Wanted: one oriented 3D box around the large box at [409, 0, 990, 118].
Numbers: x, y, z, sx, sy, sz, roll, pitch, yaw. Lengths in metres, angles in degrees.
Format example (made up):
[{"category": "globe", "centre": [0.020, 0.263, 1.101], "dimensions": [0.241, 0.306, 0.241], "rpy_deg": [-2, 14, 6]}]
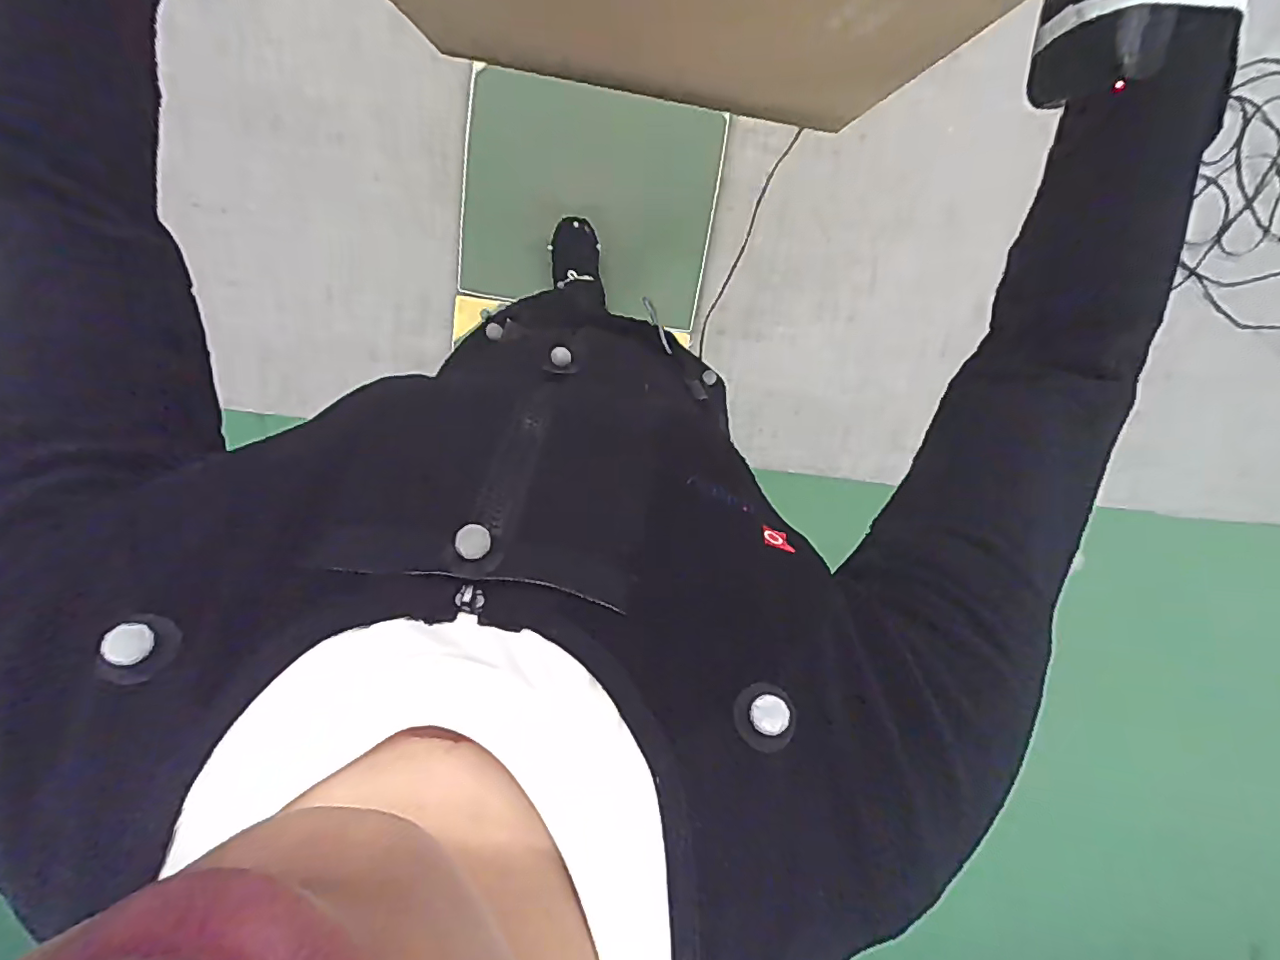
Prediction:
[{"category": "large box", "centre": [0.030, -0.476, 0.345], "dimensions": [0.408, 0.320, 0.320], "rpy_deg": [8, 112, -4]}]
